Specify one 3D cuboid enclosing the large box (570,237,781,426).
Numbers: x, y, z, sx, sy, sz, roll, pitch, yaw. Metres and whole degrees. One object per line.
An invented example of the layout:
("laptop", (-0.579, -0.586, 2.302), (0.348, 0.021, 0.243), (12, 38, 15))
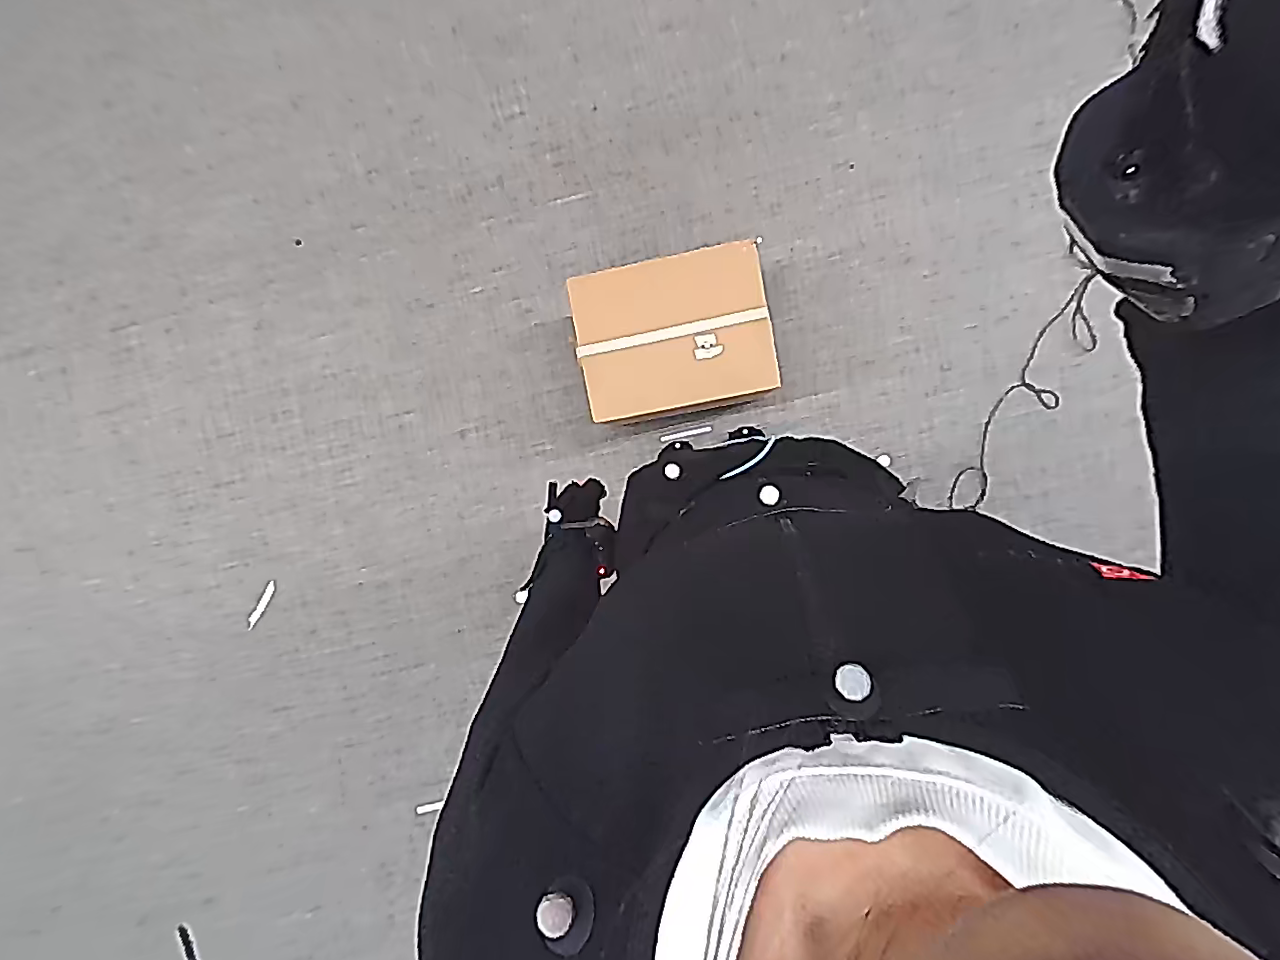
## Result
("large box", (0.083, -0.323, 1.285), (0.408, 0.320, 0.320), (-11, 94, 4))
